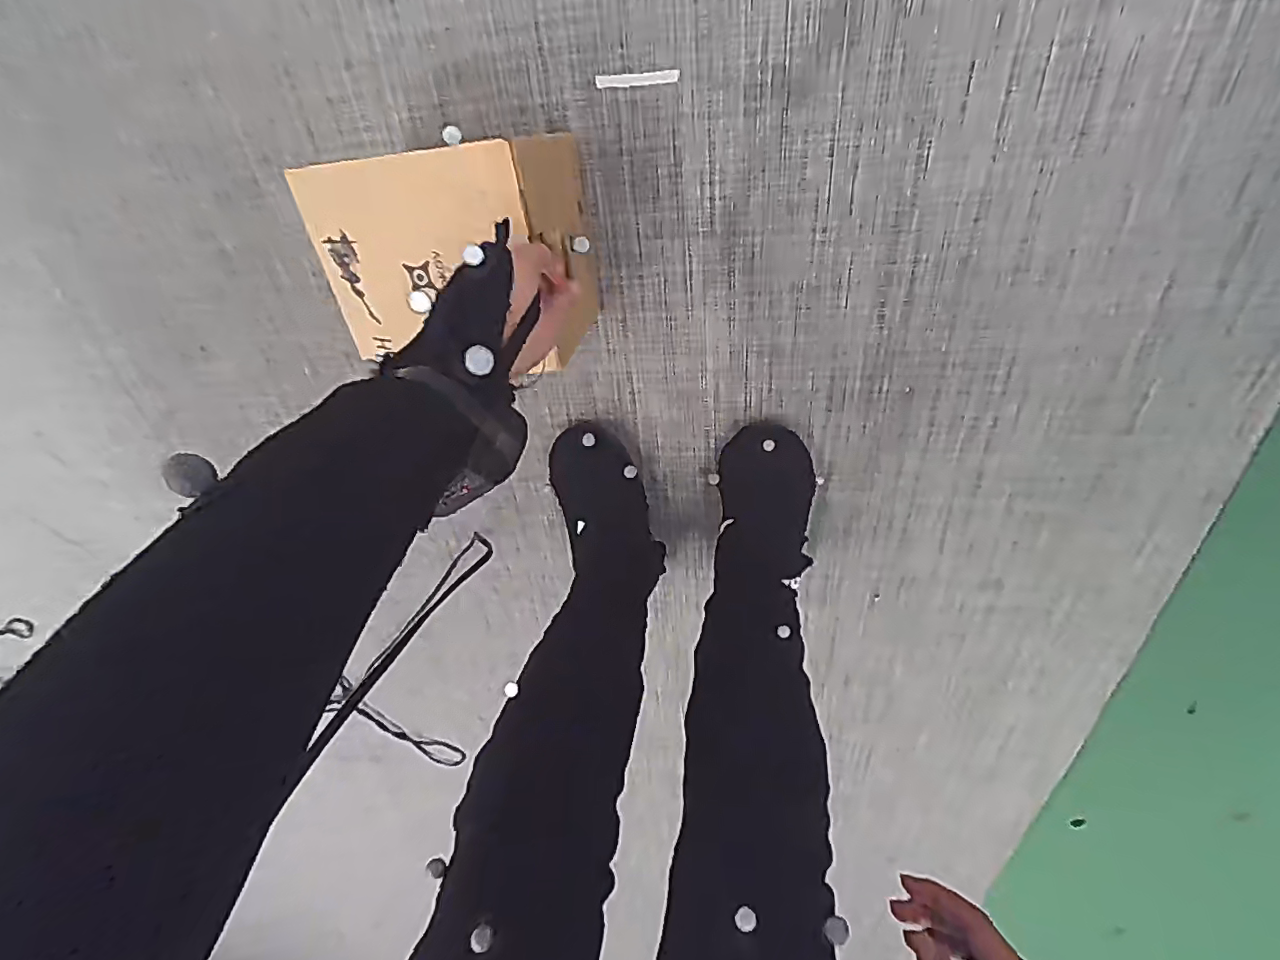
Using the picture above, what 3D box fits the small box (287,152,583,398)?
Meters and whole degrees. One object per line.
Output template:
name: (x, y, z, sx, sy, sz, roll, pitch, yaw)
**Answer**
small box: (-0.155, -0.188, 0.487, 0.179, 0.176, 0.168, -2, 124, 9)
